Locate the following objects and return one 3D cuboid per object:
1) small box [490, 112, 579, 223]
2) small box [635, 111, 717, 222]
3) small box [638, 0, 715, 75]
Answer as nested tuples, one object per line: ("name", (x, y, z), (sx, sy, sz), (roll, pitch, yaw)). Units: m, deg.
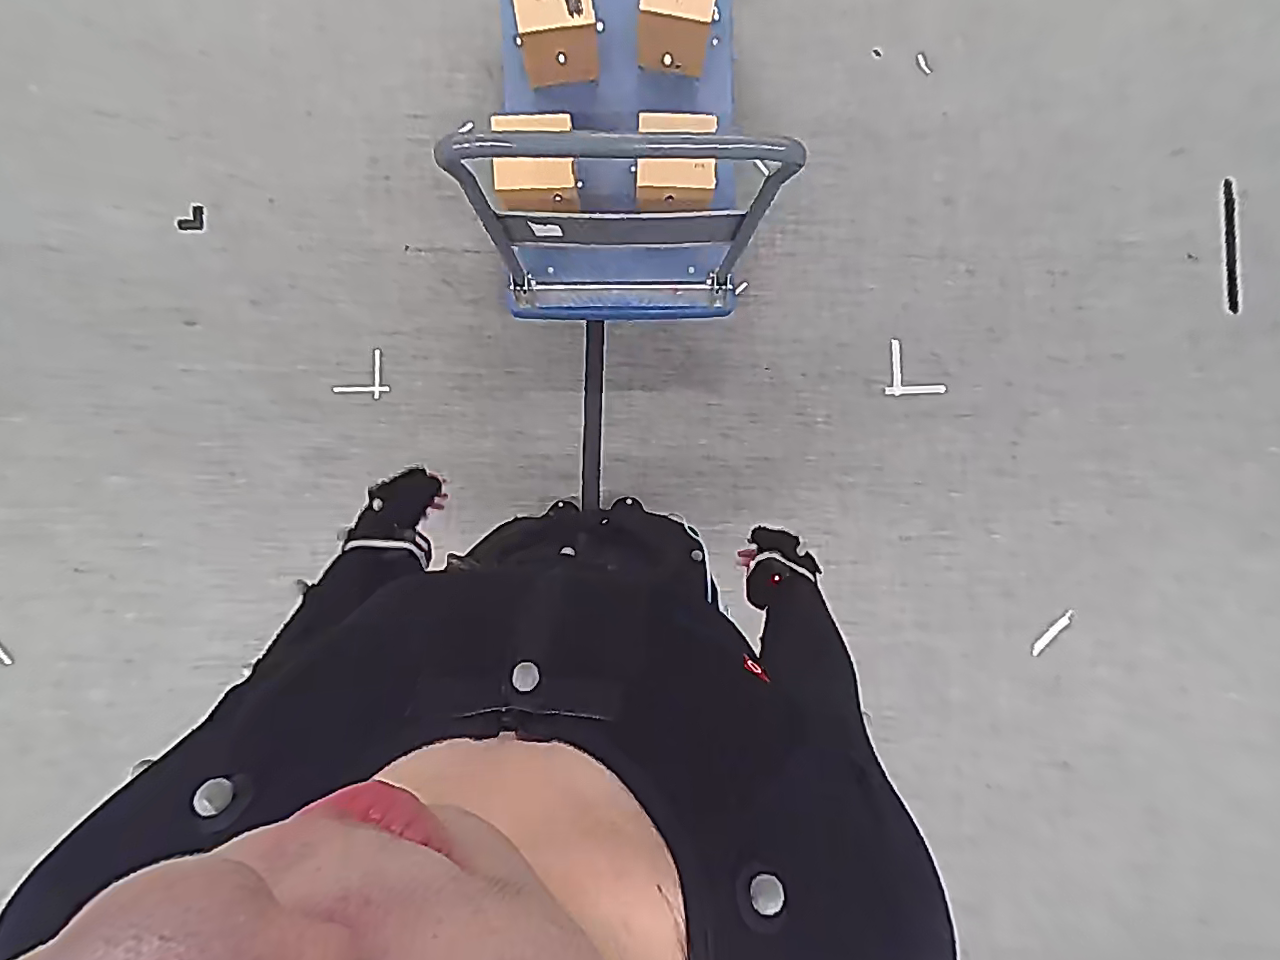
("small box", (-0.238, -0.717, 1.255), (0.179, 0.176, 0.168), (-4, 90, -3))
("small box", (0.078, -0.723, 1.263), (0.179, 0.176, 0.168), (2, 90, -1))
("small box", (0.089, -1.108, 1.266), (0.168, 0.176, 0.179), (10, 90, -1))
